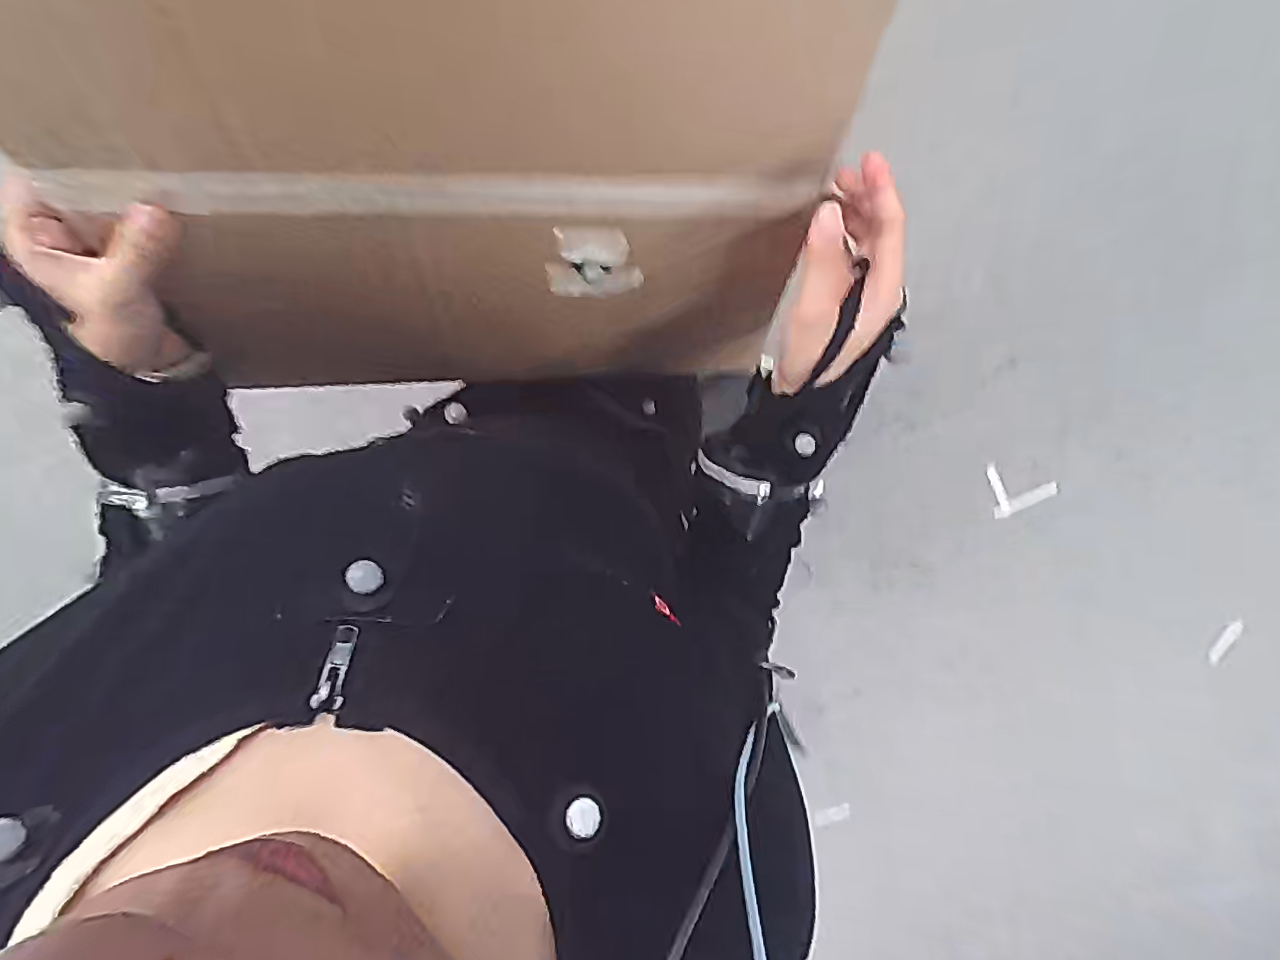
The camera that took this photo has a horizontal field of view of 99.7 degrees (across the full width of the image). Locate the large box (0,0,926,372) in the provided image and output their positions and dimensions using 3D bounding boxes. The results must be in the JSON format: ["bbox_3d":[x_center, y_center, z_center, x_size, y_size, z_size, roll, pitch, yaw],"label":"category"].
[{"bbox_3d":[-0.096,-0.296,0.344,0.408,0.320,0.320,-5,151,-9],"label":"large box"}]

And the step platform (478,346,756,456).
[{"bbox_3d":[-0.057,-0.302,1.373,0.684,0.204,0.286,-20,106,9],"label":"step platform"}]
